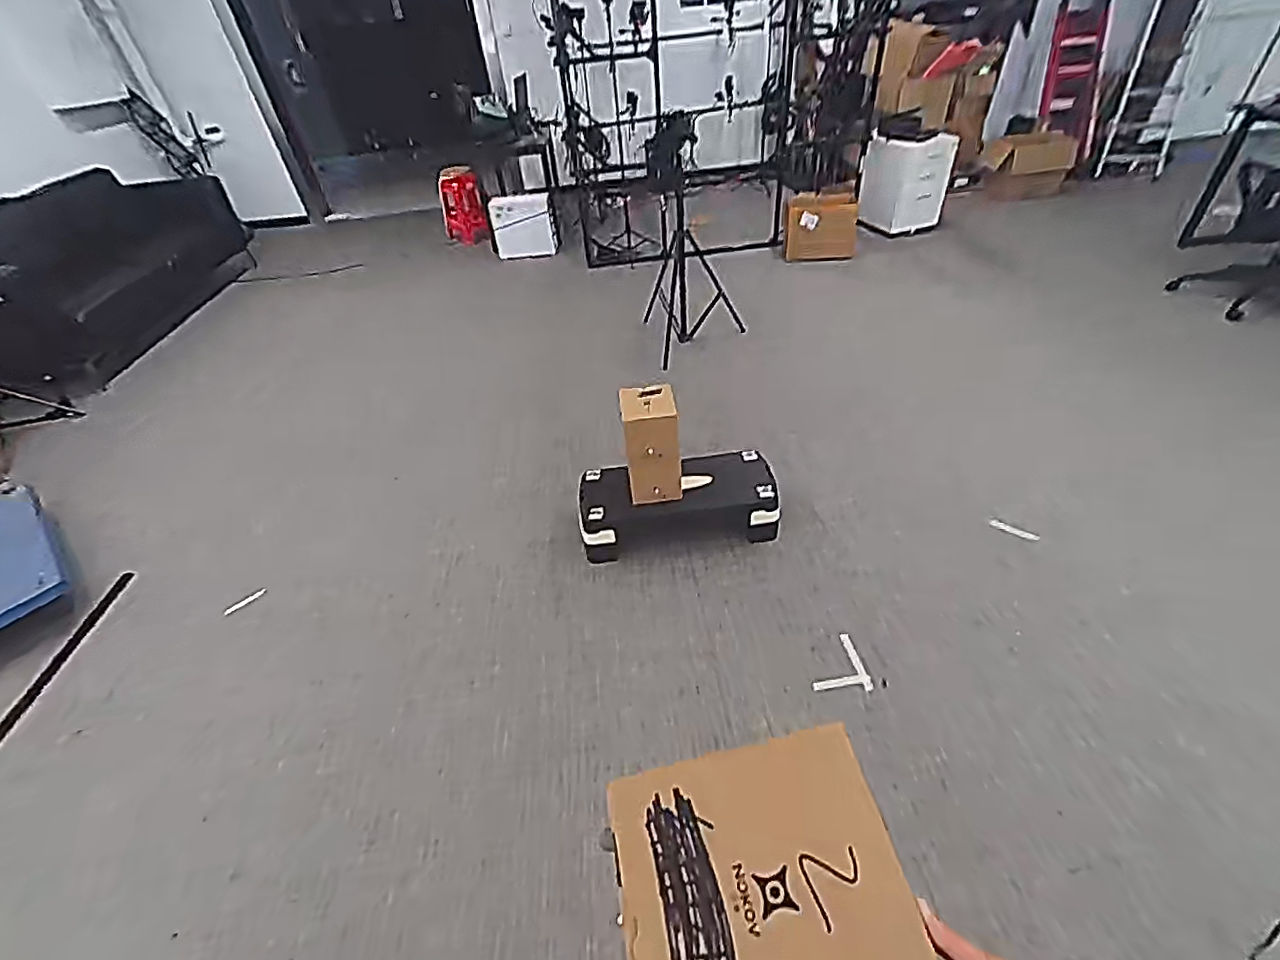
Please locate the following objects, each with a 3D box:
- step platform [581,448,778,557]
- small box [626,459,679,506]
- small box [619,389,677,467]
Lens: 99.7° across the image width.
[{"bbox_3d":[0.133,0.074,1.923,0.684,0.204,0.286,-8,40,-1],"label":"step platform"},{"bbox_3d":[0.039,-0.037,1.796,0.168,0.176,0.179,-7,40,0],"label":"small box"},{"bbox_3d":[0.024,-0.164,1.693,0.168,0.176,0.179,-7,40,-1],"label":"small box"}]
